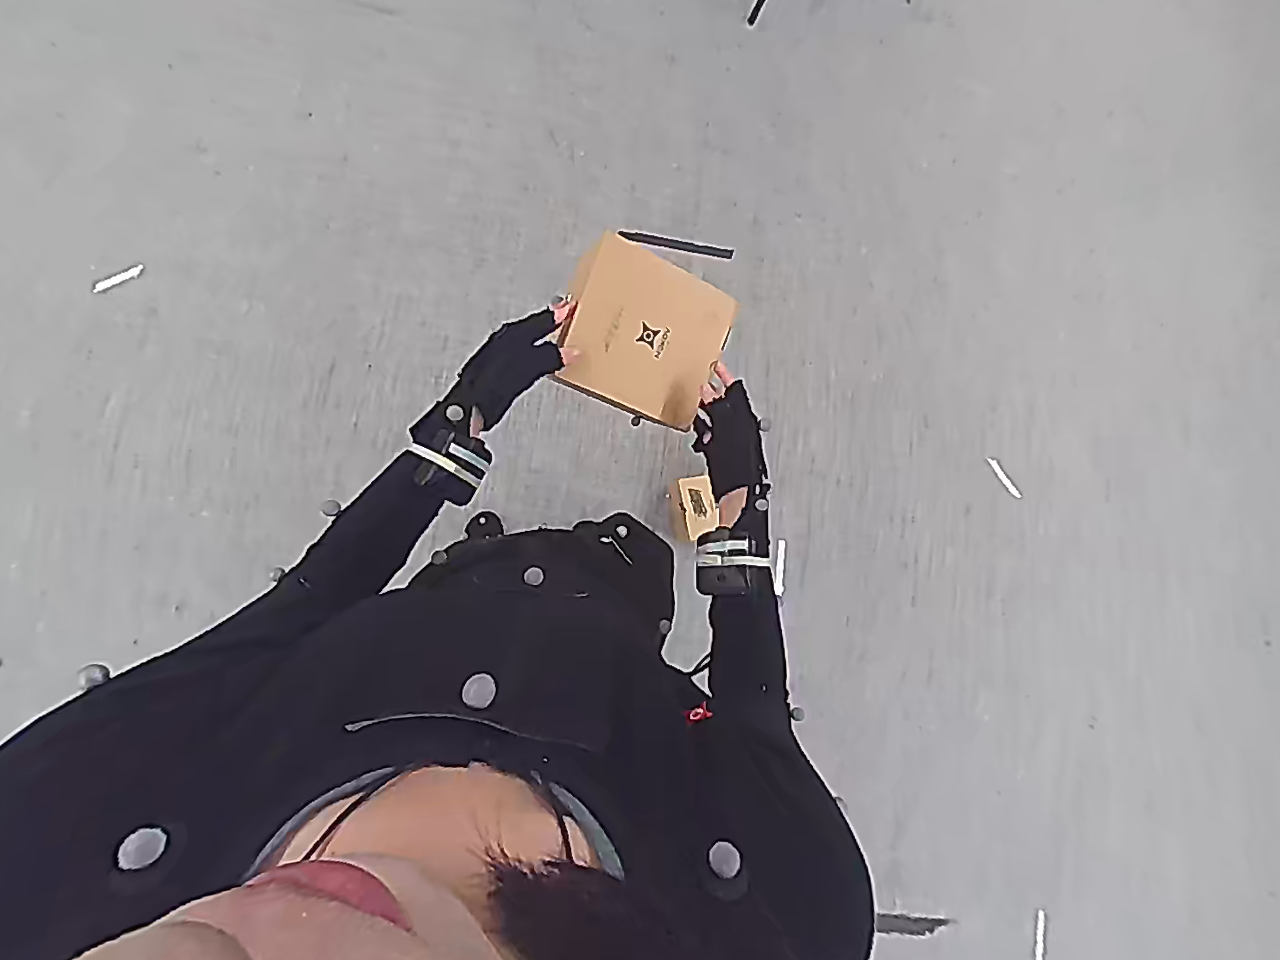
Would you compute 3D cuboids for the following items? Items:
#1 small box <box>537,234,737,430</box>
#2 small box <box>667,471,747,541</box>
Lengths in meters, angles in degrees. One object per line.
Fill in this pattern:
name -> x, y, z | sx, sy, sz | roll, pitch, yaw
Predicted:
small box -> -0.015, -0.176, 0.679 | 0.179, 0.176, 0.168 | 20, 94, -20
small box -> 0.176, 0.076, 1.495 | 0.179, 0.176, 0.168 | -9, 85, -9
